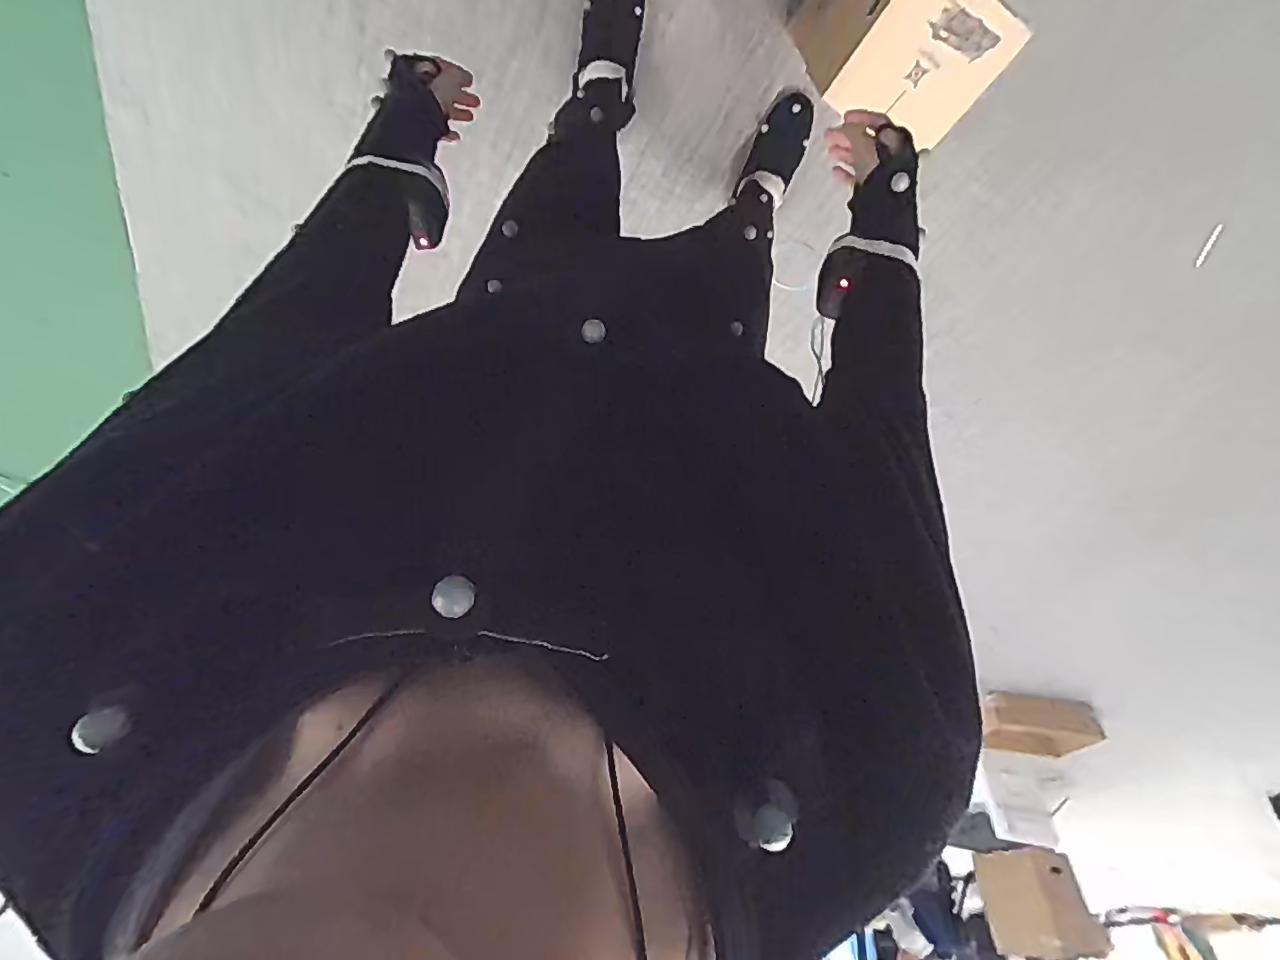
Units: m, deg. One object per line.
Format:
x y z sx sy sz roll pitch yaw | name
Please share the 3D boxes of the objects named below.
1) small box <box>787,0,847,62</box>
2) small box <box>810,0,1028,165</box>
0.371 -0.812 0.931 0.168 0.176 0.179 23 135 -20 | small box
0.346 -0.569 0.711 0.168 0.176 0.179 25 135 -19 | small box
